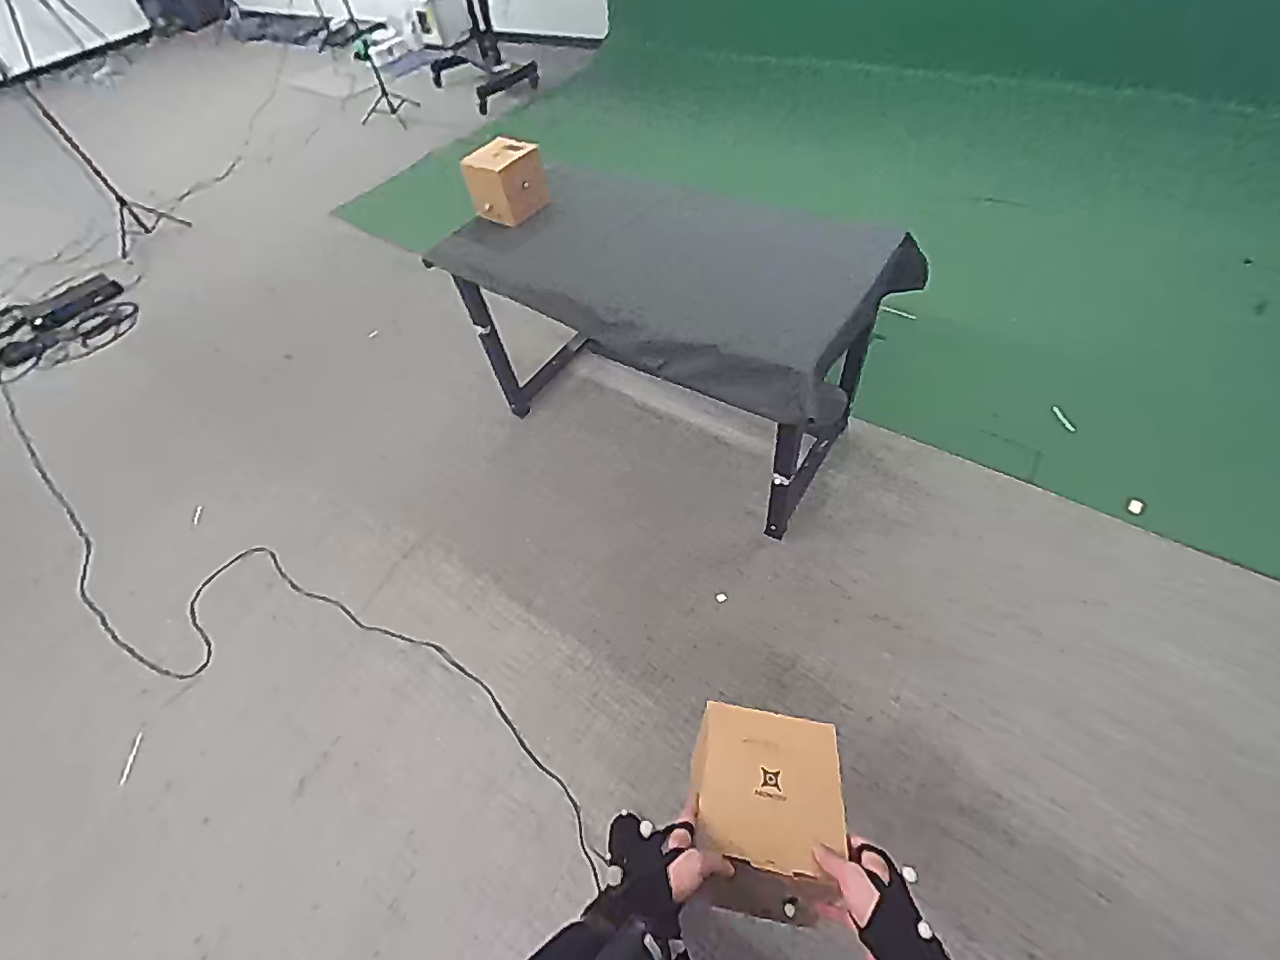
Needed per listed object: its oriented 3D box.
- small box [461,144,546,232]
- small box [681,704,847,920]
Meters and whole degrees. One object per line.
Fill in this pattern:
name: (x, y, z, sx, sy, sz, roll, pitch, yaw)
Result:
small box: (-0.407, -0.896, 1.661, 0.168, 0.176, 0.179, 27, 62, 25)
small box: (0.147, 0.421, 0.686, 0.168, 0.176, 0.179, 8, 38, 4)
